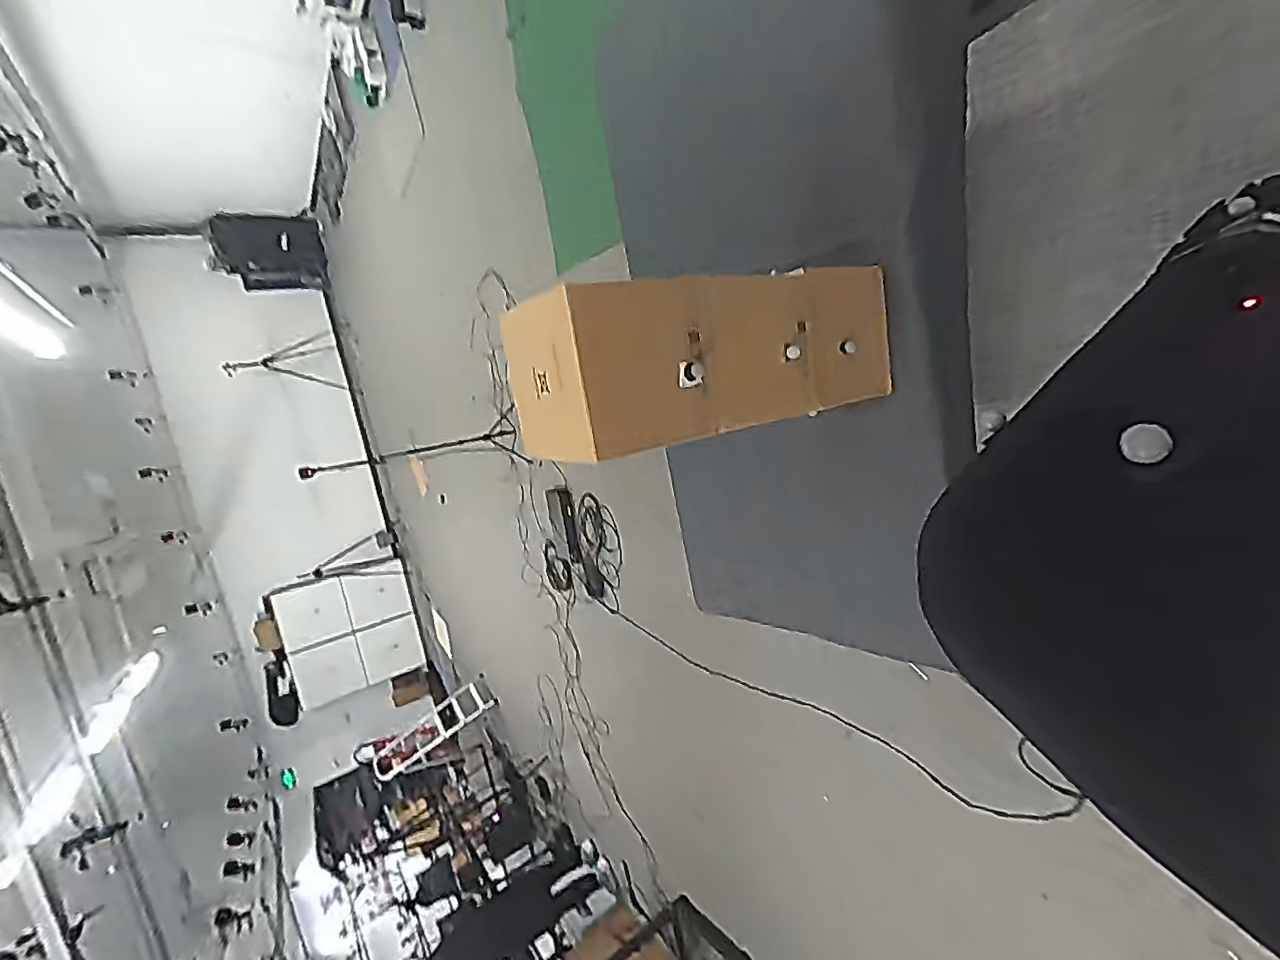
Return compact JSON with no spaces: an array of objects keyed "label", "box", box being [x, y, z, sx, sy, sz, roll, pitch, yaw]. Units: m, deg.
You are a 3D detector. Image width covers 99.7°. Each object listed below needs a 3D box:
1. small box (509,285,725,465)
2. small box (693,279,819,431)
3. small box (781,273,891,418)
[{"label":"small box","box":[-0.028,-0.118,0.617,0.179,0.176,0.168,7,110,56]},{"label":"small box","box":[0.104,-0.156,0.704,0.179,0.176,0.168,5,106,59]},{"label":"small box","box":[0.242,-0.190,0.786,0.168,0.176,0.179,5,107,57]}]
